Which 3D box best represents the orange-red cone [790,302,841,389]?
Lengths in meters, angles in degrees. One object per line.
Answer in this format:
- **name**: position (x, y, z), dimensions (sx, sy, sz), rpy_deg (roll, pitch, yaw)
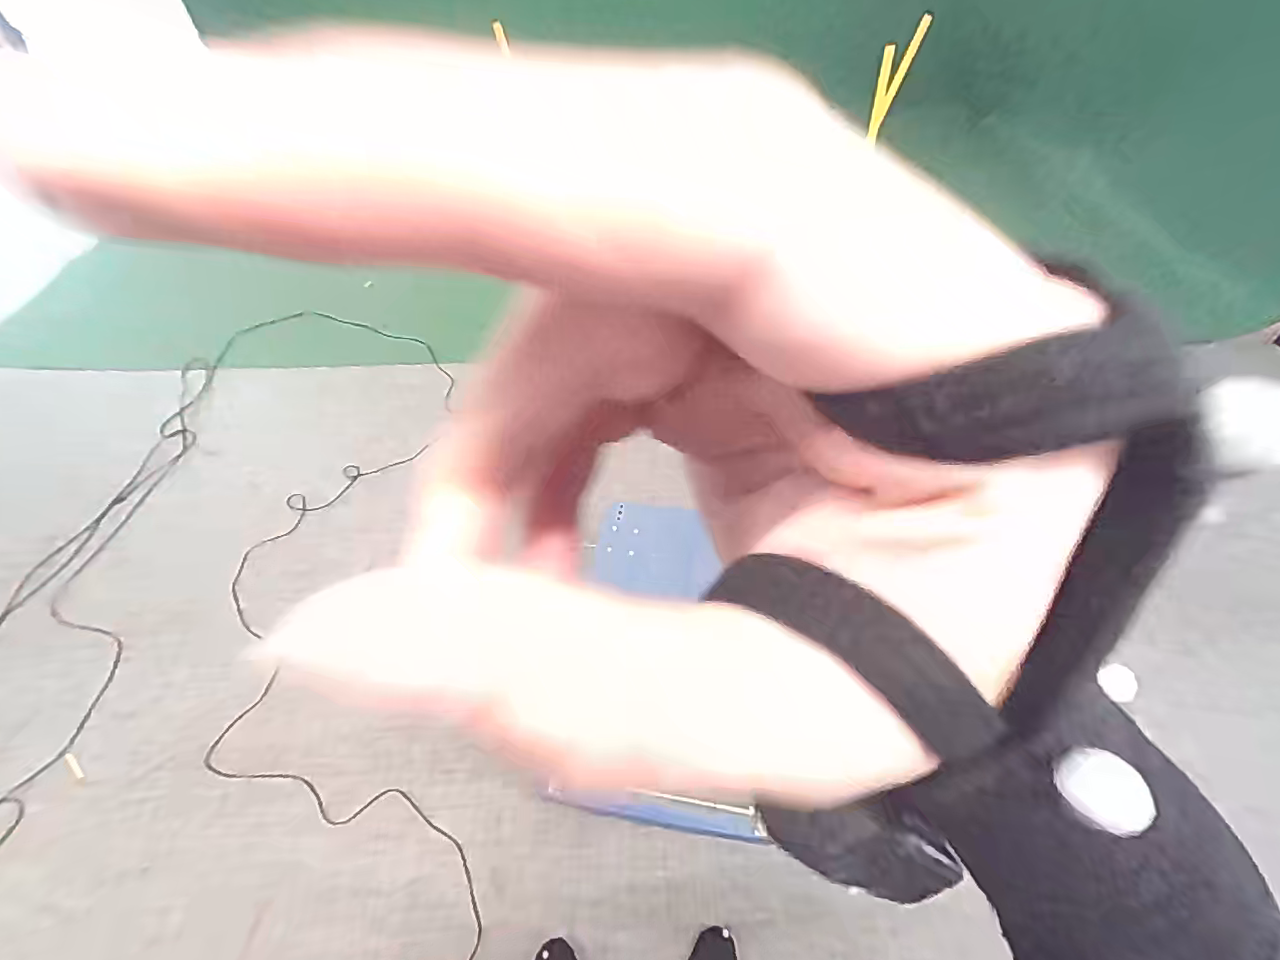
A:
- **orange-red cone**: position (0.779, -0.585, 2.283), dimensions (0.198, 0.360, 0.199), rpy_deg (0, 50, -1)
